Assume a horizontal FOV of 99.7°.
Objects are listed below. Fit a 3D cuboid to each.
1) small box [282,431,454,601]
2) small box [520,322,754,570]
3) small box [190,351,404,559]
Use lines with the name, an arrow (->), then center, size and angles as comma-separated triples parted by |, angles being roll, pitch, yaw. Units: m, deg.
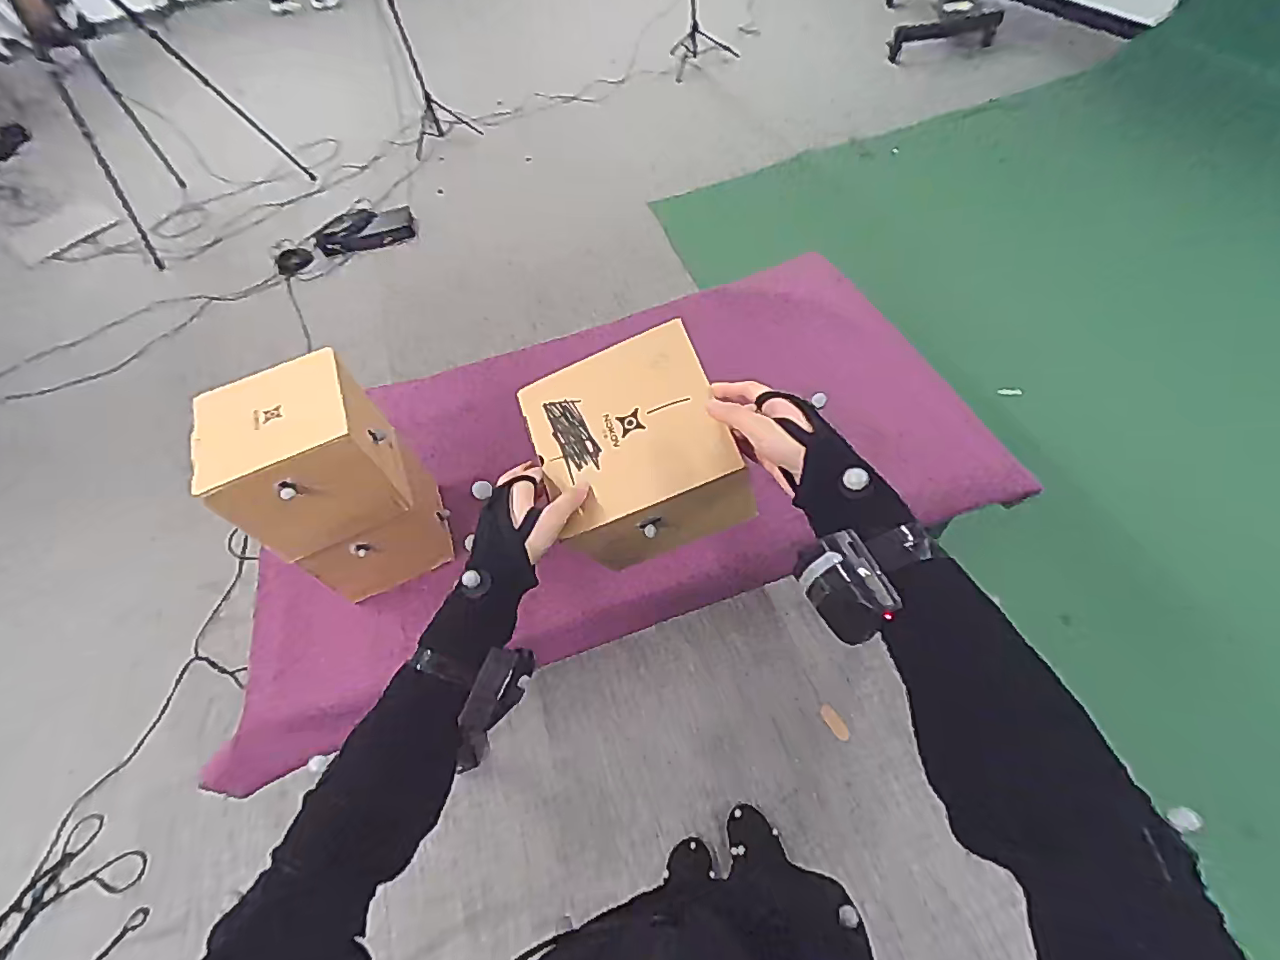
small box -> -0.415, 0.061, 0.833 | 0.179, 0.176, 0.168 | -23, 56, -9
small box -> 0.005, -0.020, 0.555 | 0.179, 0.176, 0.168 | -22, 67, 7
small box -> -0.427, -0.028, 0.698 | 0.179, 0.176, 0.168 | -25, 57, -9
